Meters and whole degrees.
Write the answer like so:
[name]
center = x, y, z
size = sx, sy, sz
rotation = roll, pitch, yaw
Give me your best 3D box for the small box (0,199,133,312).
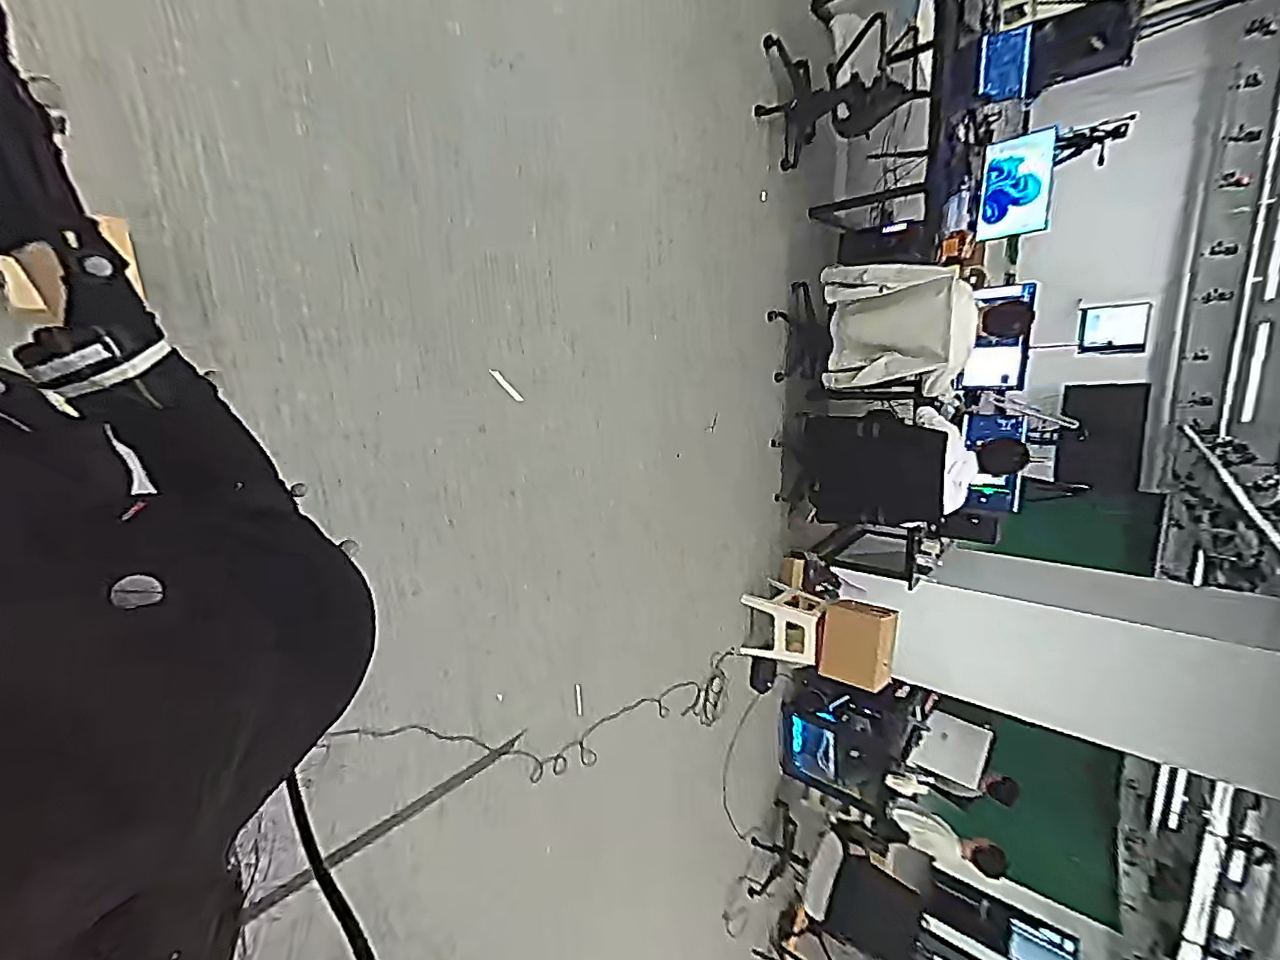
[small box]
center = -1.073, -0.398, 0.985
size = 0.179, 0.176, 0.168
rotation = -19, 112, -49
